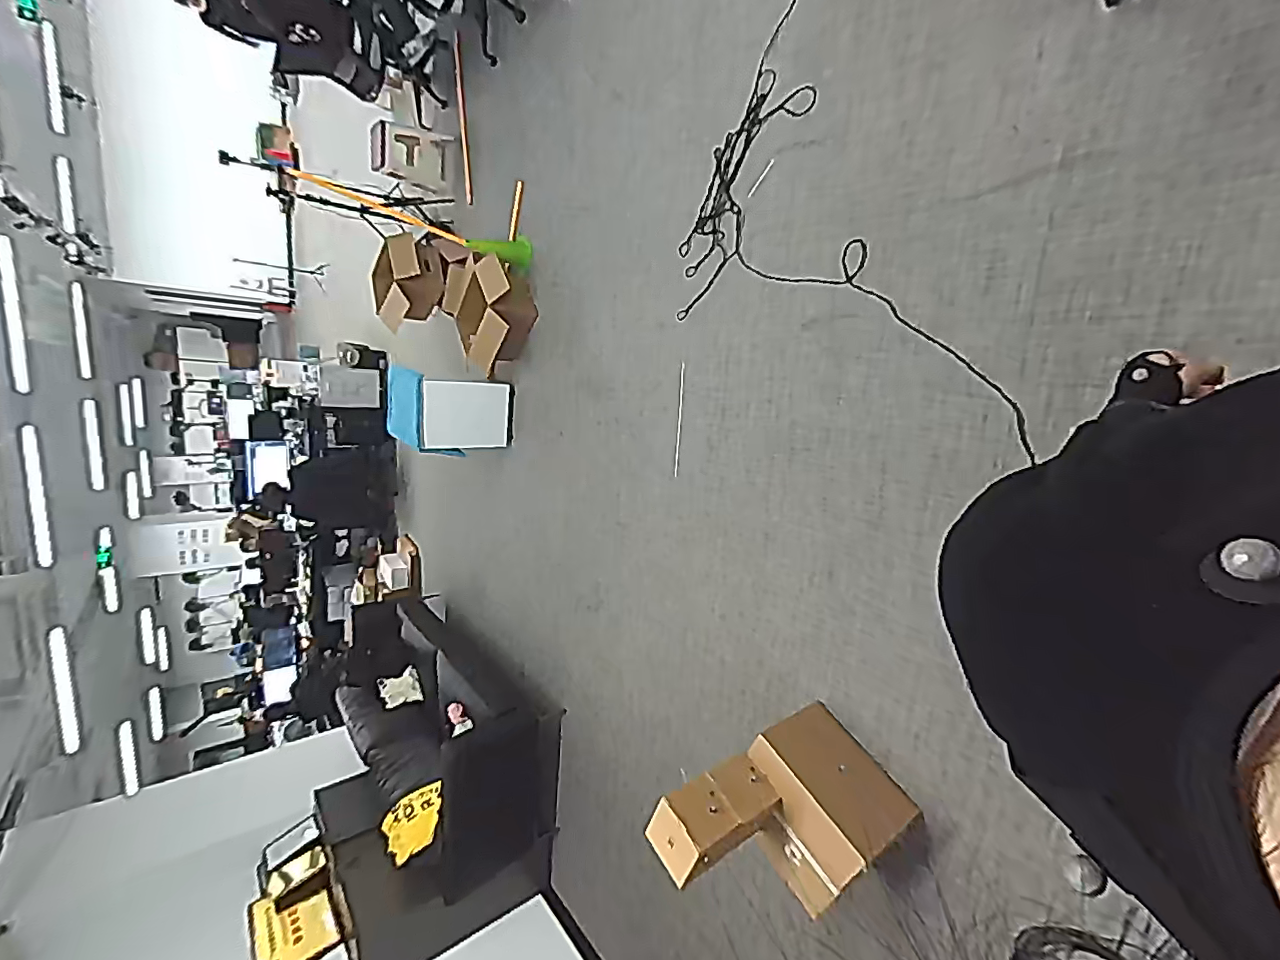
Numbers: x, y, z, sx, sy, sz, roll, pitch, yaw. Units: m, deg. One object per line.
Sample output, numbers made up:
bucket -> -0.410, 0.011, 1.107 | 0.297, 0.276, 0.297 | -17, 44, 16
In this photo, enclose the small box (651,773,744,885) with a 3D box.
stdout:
small box -> 0.160, 0.961, 1.501 | 0.168, 0.176, 0.179 | 41, 124, 41
